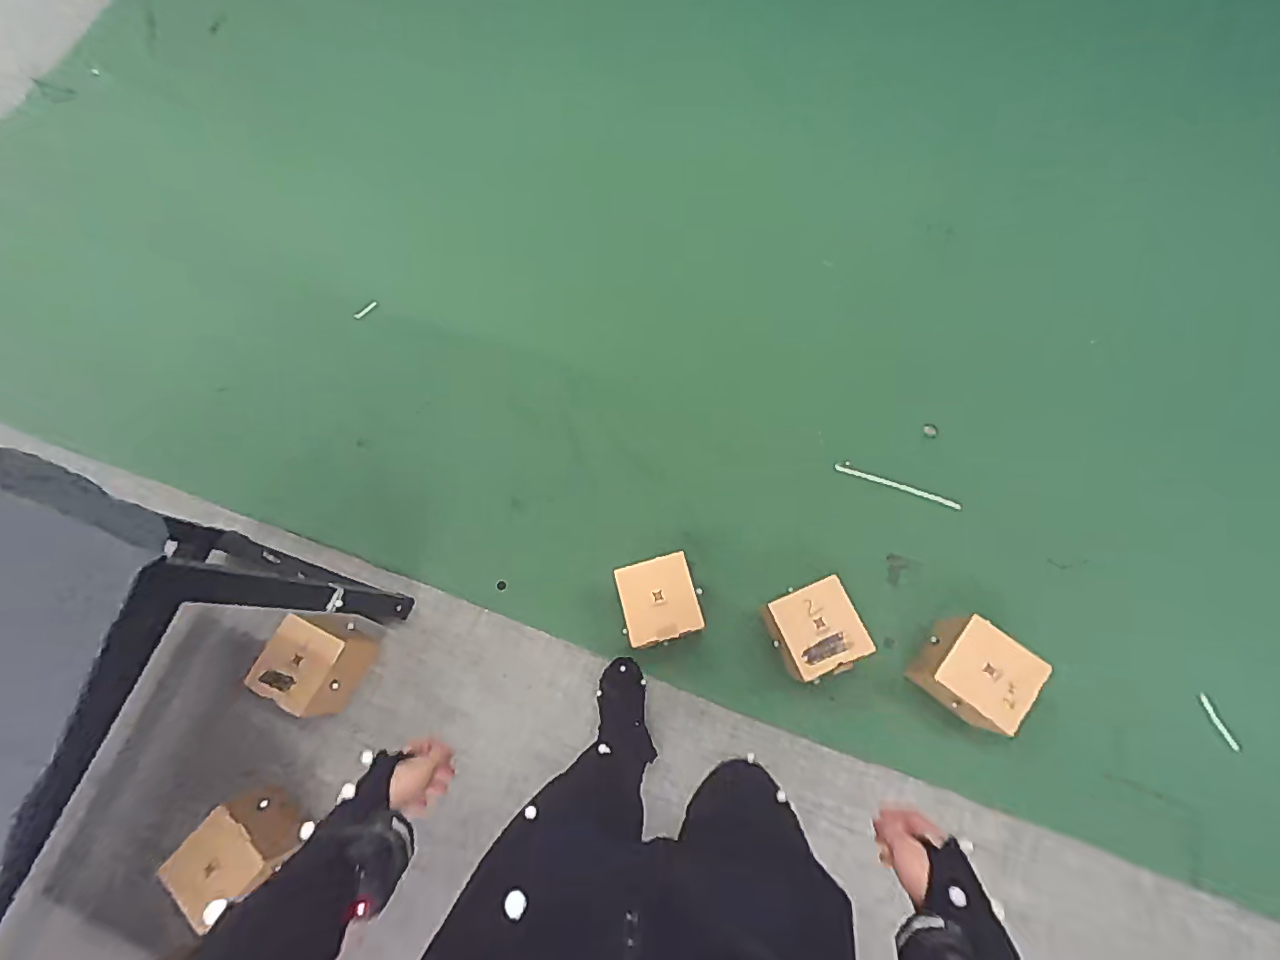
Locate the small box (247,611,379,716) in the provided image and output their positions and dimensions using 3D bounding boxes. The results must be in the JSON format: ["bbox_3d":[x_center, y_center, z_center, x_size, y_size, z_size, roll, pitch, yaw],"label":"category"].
[{"bbox_3d":[-0.760,0.429,1.282,0.168,0.176,0.179,23,76,10],"label":"small box"}]

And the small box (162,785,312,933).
[{"bbox_3d":[-0.861,0.810,1.182,0.168,0.176,0.179,38,82,14],"label":"small box"}]

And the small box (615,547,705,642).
[{"bbox_3d":[0.046,0.273,1.266,0.168,0.176,0.179,-16,74,-1],"label":"small box"}]

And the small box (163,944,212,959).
[{"bbox_3d":[-0.990,1.123,1.103,0.168,0.176,0.179,30,79,12],"label":"small box"}]

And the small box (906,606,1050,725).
[{"bbox_3d":[0.719,0.398,1.175,0.179,0.176,0.168,37,81,13],"label":"small box"}]
